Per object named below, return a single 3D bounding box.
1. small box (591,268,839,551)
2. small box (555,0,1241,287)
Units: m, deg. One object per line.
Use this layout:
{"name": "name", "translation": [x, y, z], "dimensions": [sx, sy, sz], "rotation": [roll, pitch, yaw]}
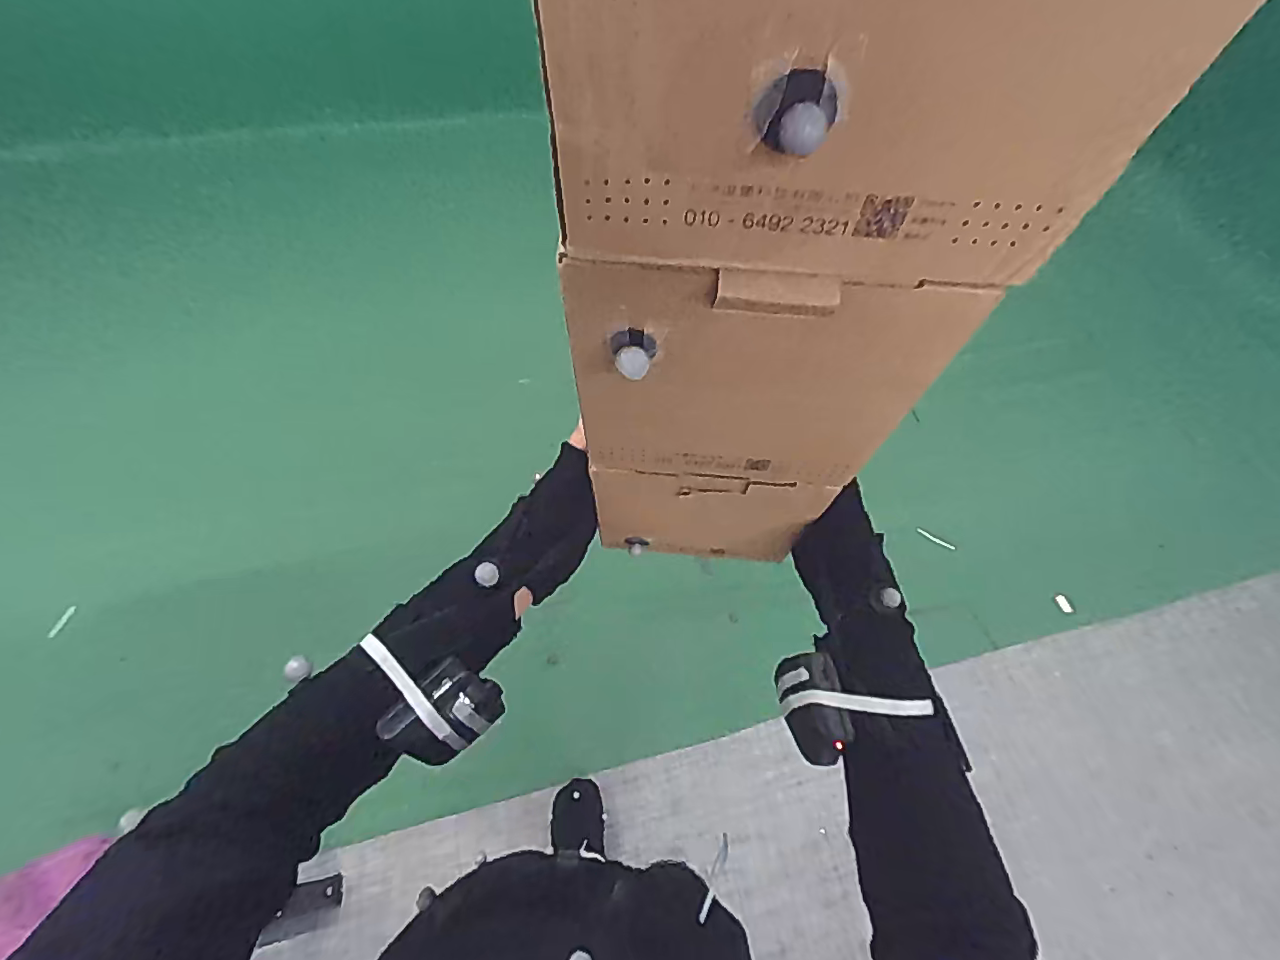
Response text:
{"name": "small box", "translation": [0.056, -0.048, 0.459], "dimensions": [0.168, 0.176, 0.179], "rotation": [5, 65, 1]}
{"name": "small box", "translation": [0.063, -0.188, 0.163], "dimensions": [0.168, 0.176, 0.179], "rotation": [3, 65, 1]}
